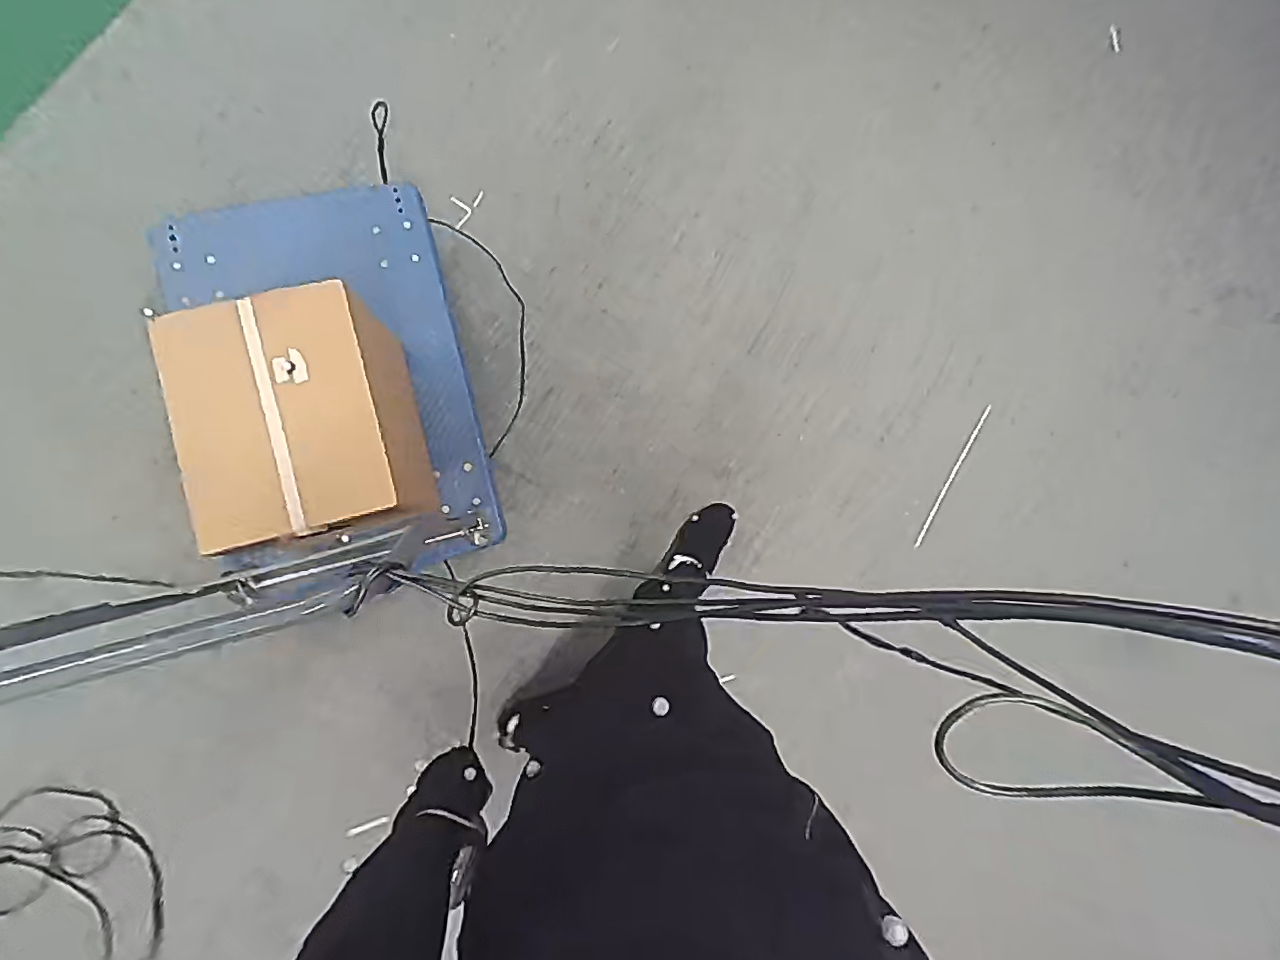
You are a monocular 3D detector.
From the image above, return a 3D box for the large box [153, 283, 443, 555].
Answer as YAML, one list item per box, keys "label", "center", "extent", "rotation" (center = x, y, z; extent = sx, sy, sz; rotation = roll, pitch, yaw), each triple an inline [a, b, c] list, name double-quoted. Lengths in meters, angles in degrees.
- label: "large box"
  center: [-0.616, -0.094, 1.042]
  extent: [0.320, 0.320, 0.408]
  rotation: [-15, 86, -8]
